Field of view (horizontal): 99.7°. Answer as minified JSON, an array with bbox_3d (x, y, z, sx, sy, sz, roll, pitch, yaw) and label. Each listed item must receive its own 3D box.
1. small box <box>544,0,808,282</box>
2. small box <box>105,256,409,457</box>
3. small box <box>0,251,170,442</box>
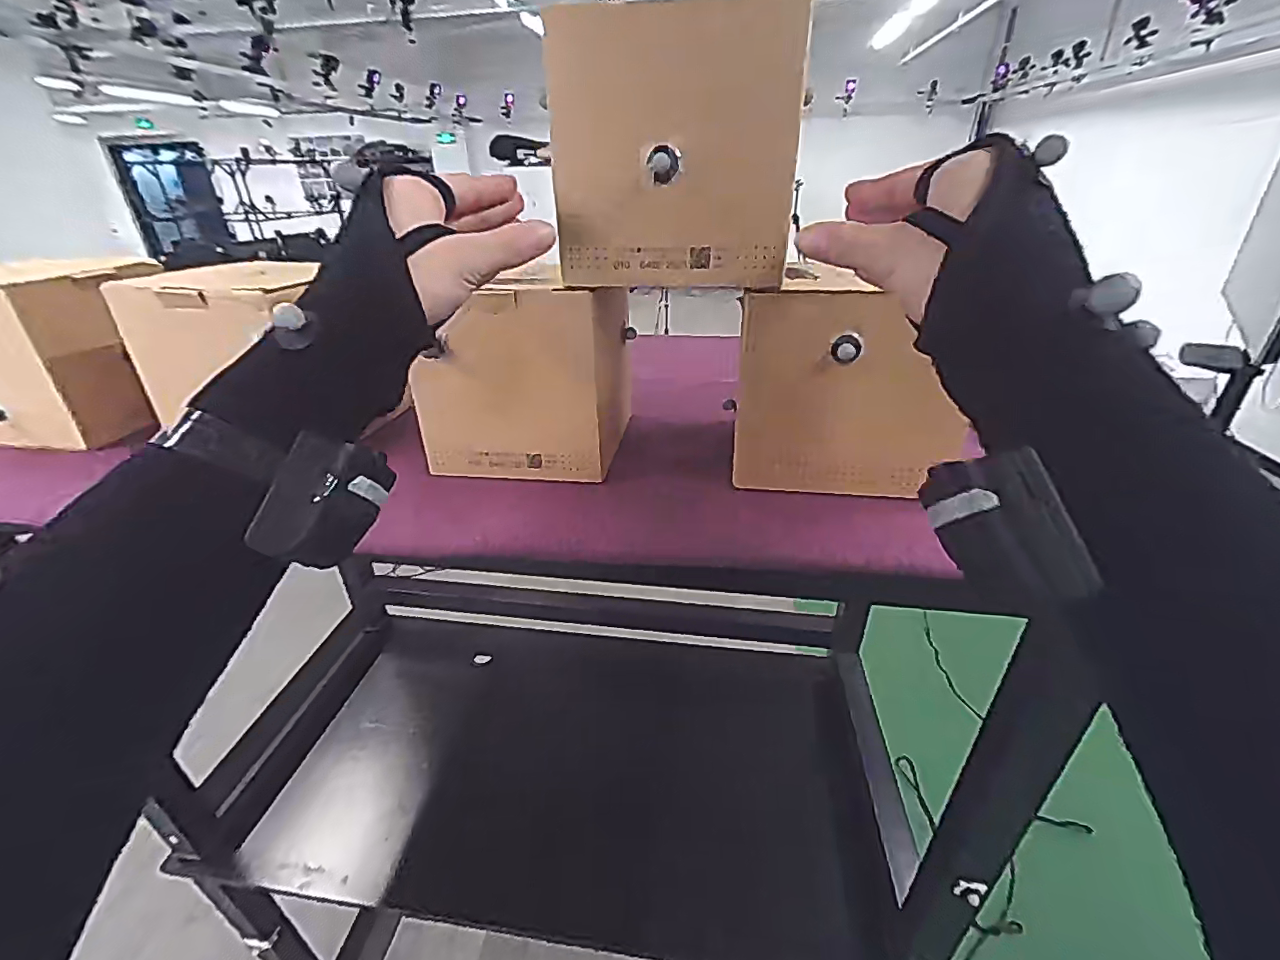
[{"bbox_3d":[0.033,-0.257,0.434,0.168,0.176,0.179,3,27,7],"label":"small box"},{"bbox_3d":[-0.368,-0.134,0.563,0.168,0.176,0.179,5,28,9],"label":"small box"},{"bbox_3d":[-0.639,-0.150,0.595,0.179,0.176,0.168,3,28,5],"label":"small box"}]
